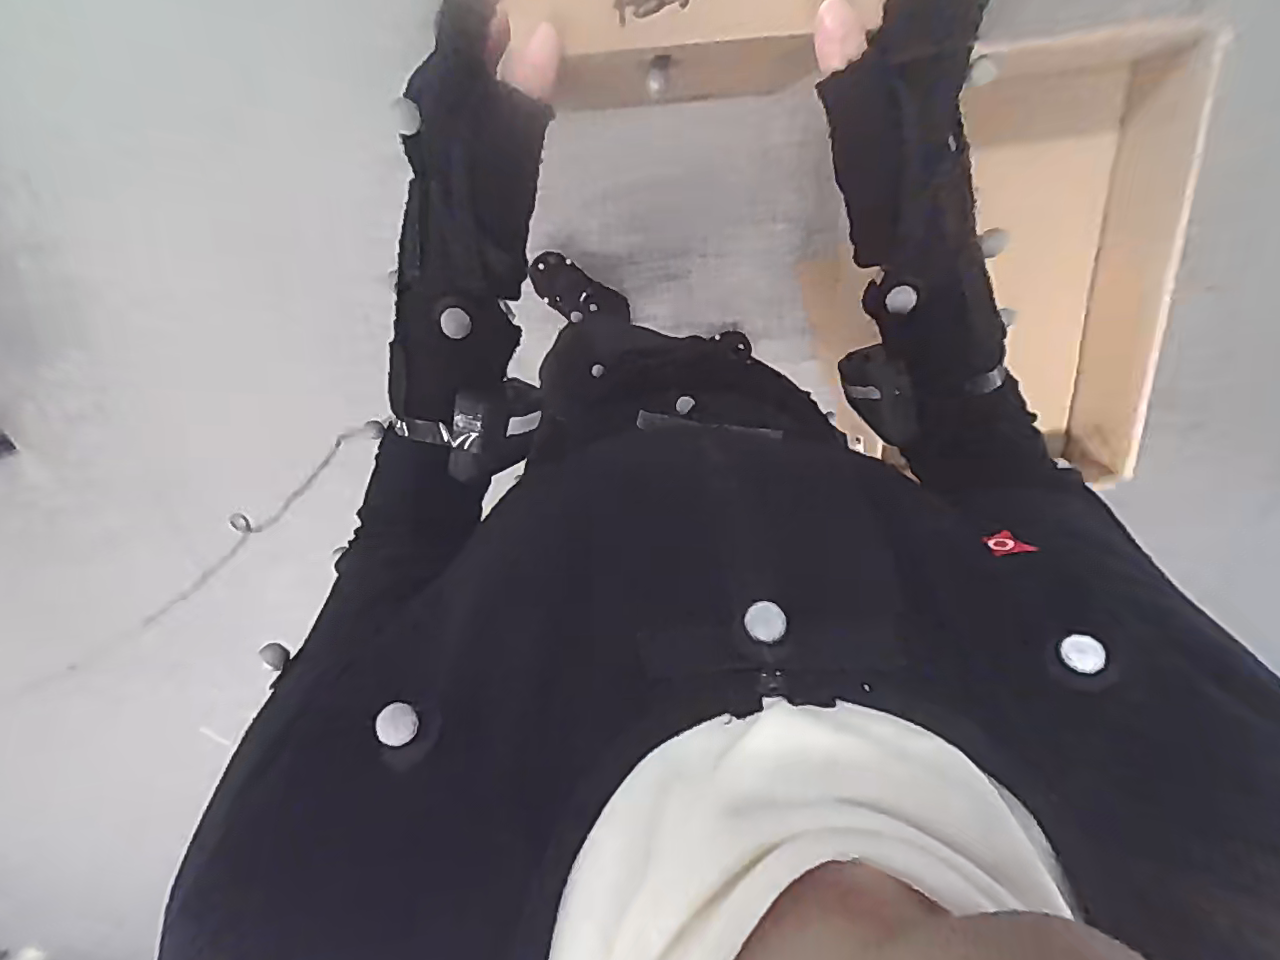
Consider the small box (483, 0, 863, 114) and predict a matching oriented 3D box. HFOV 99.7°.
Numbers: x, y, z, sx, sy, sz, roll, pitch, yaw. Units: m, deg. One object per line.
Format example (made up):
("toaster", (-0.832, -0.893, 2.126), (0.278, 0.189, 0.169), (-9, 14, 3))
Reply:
("small box", (0.006, -0.307, 0.270), (0.168, 0.176, 0.179), (-5, 117, 1))
